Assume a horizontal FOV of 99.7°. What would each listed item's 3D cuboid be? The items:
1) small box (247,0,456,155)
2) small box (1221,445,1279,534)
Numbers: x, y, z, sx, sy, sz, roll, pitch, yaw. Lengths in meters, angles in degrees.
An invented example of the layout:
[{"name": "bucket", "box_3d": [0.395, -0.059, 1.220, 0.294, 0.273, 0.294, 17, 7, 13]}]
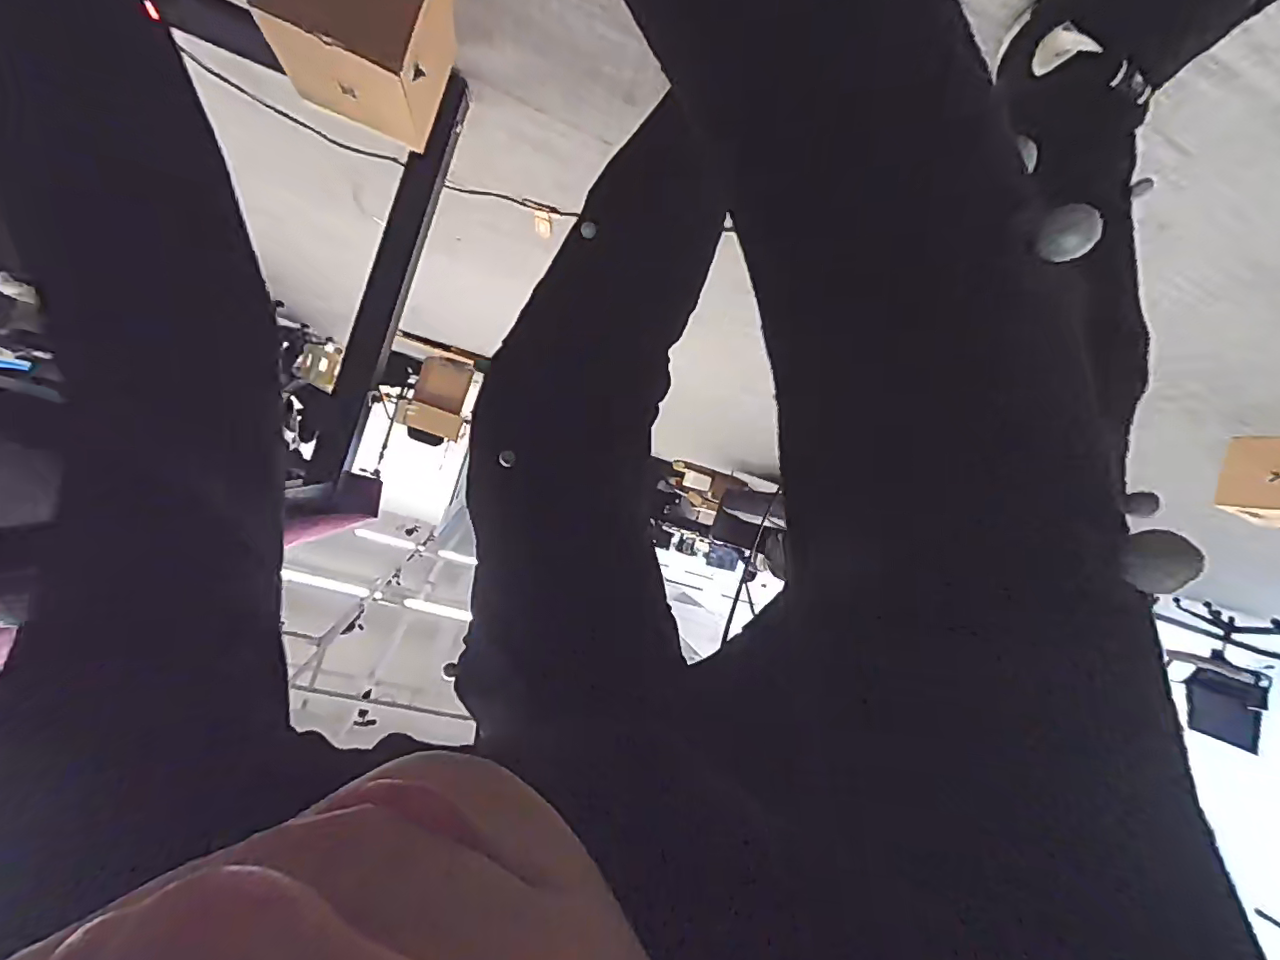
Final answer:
[{"name": "small box", "box_3d": [-0.345, -0.569, 0.687, 0.168, 0.176, 0.179, 18, 178, -13]}, {"name": "small box", "box_3d": [1.454, 0.024, 1.182, 0.168, 0.176, 0.179, 18, 177, -14]}]
